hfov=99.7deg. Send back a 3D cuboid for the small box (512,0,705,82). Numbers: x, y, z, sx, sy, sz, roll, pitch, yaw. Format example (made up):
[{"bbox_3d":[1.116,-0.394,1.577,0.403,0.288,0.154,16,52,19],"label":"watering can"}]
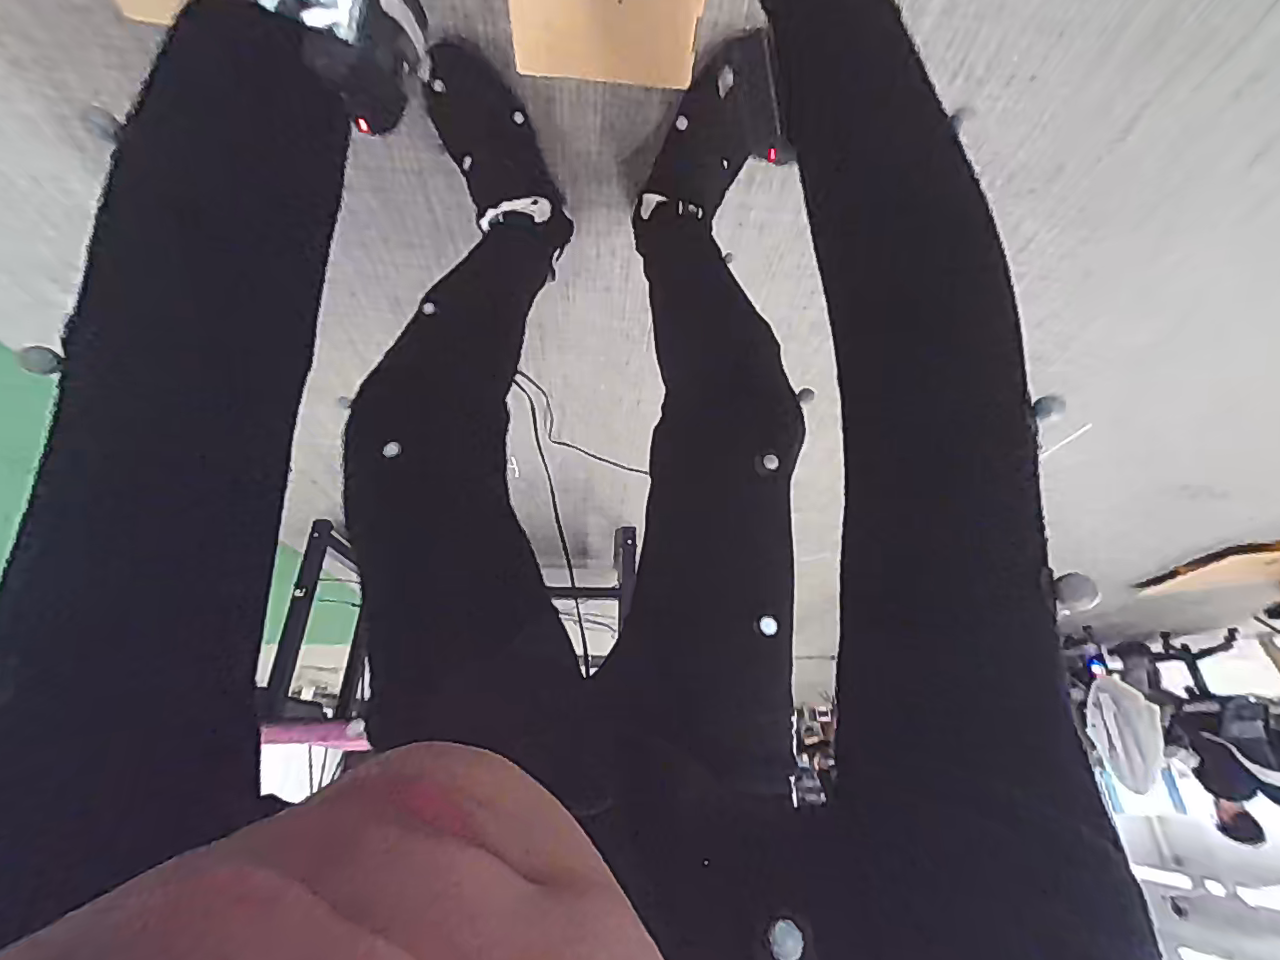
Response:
[{"bbox_3d":[-0.026,-0.511,0.501,0.179,0.176,0.168,1,153,-5],"label":"small box"}]
